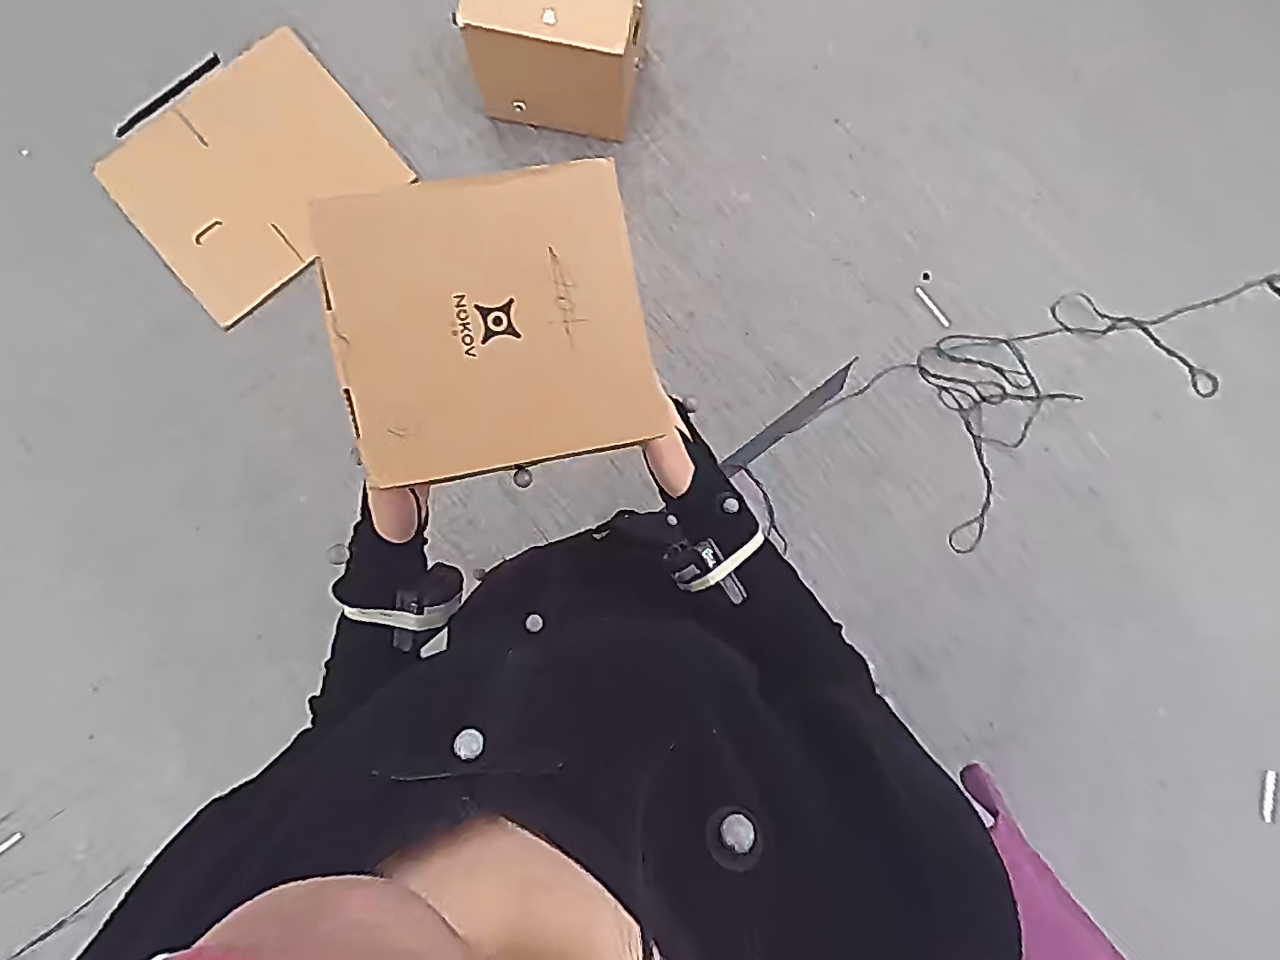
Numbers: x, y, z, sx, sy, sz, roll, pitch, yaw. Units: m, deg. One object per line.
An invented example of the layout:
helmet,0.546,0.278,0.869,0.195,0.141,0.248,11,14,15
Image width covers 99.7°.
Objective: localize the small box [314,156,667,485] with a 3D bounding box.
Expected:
small box,-0.089,-0.093,0.389,0.179,0.176,0.168,-12,93,-5
